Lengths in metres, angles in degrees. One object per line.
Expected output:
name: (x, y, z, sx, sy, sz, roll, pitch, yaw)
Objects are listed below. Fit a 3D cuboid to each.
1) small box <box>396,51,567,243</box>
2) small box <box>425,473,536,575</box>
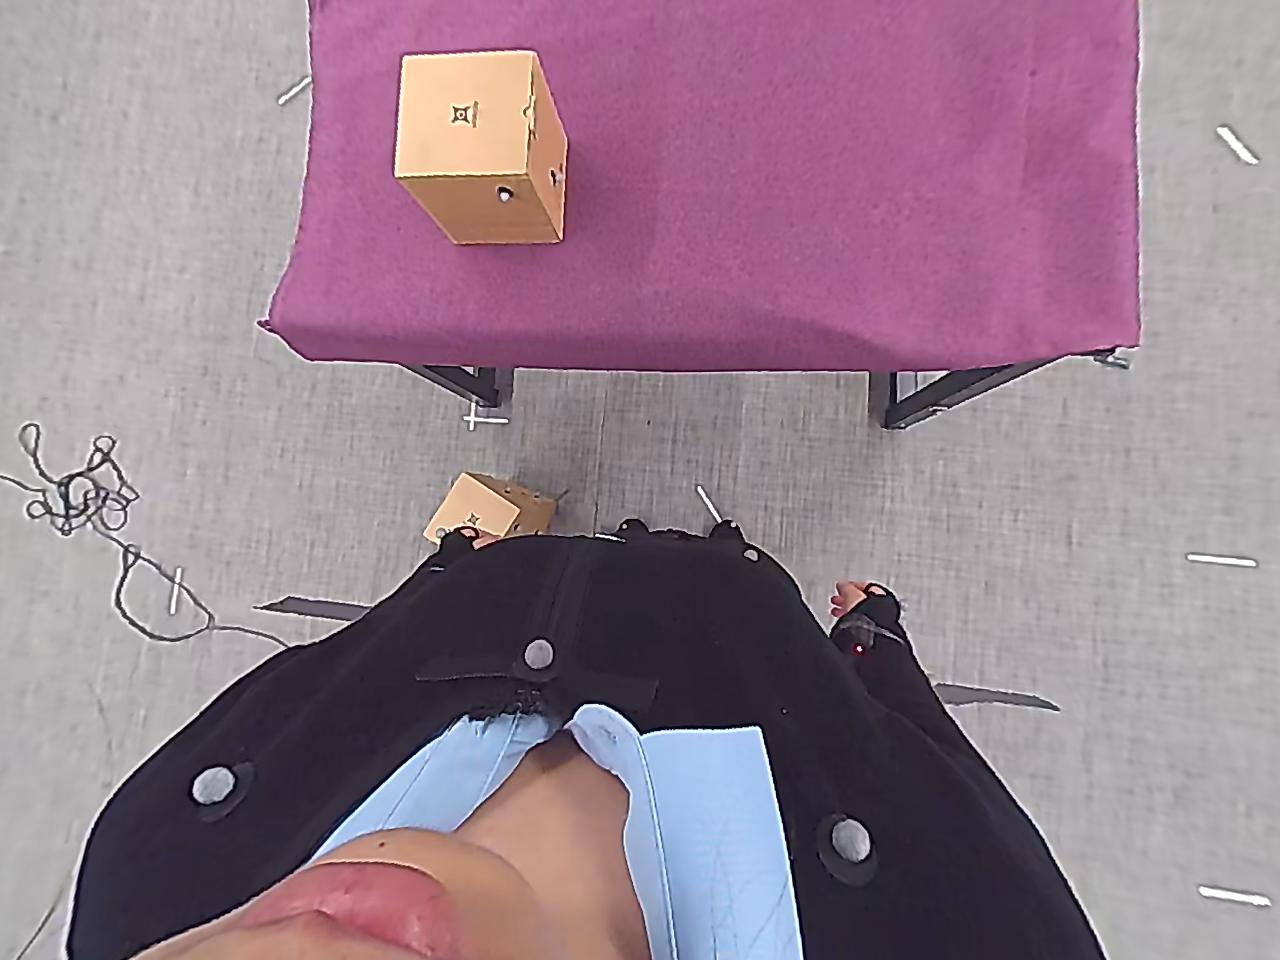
small box: (-0.211, -0.450, 0.757, 0.179, 0.176, 0.168, 1, 85, 5)
small box: (-0.370, 0.103, 1.299, 0.168, 0.176, 0.179, 33, 91, 7)
